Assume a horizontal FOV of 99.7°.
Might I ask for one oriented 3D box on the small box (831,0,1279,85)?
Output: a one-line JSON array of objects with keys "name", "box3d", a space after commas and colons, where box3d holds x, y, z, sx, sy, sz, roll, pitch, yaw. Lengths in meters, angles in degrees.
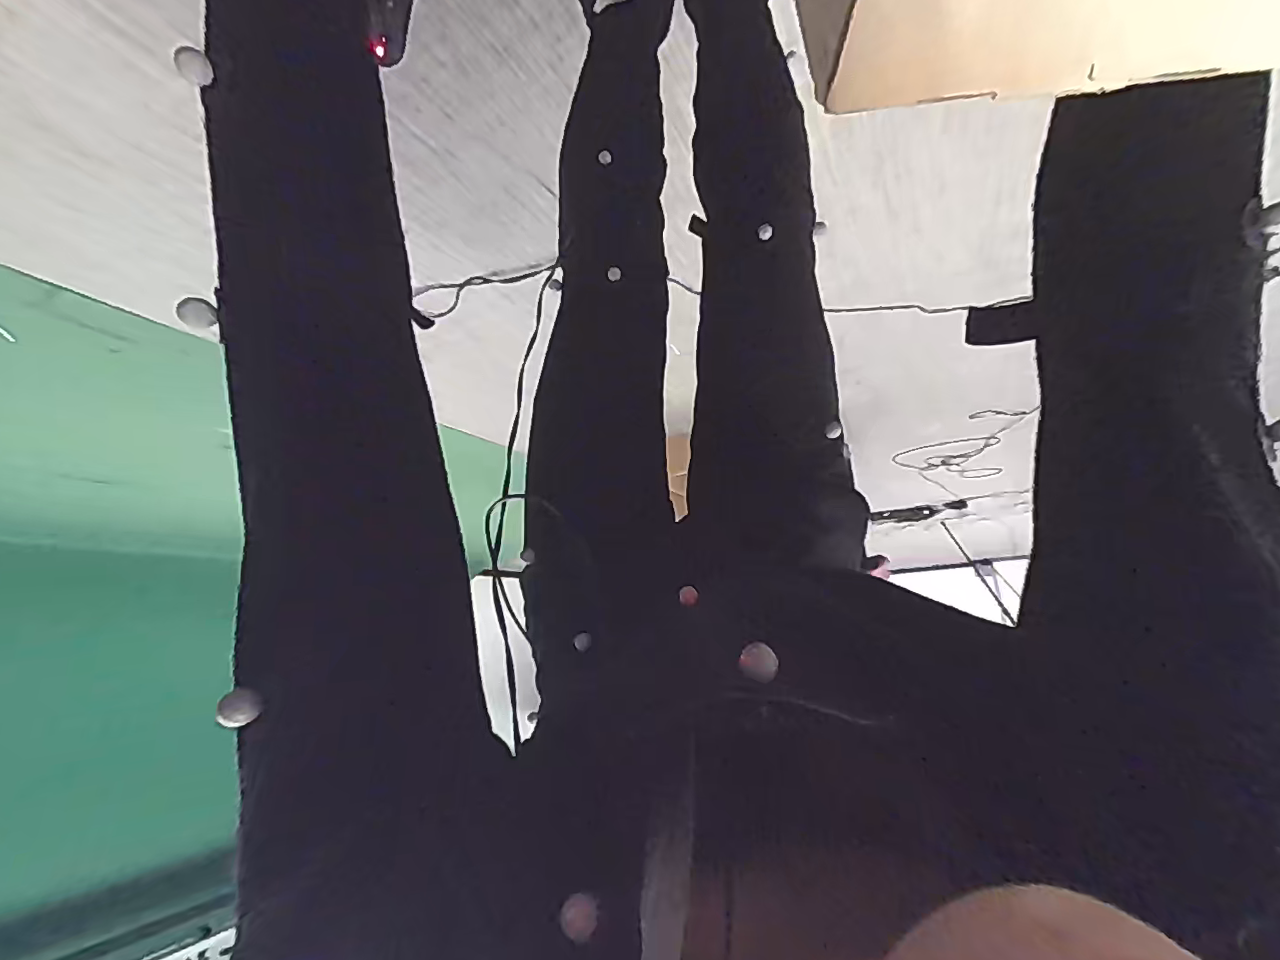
[{"name": "small box", "box3d": [0.132, -0.242, 0.122, 0.168, 0.176, 0.179, -5, 163, 2]}]
